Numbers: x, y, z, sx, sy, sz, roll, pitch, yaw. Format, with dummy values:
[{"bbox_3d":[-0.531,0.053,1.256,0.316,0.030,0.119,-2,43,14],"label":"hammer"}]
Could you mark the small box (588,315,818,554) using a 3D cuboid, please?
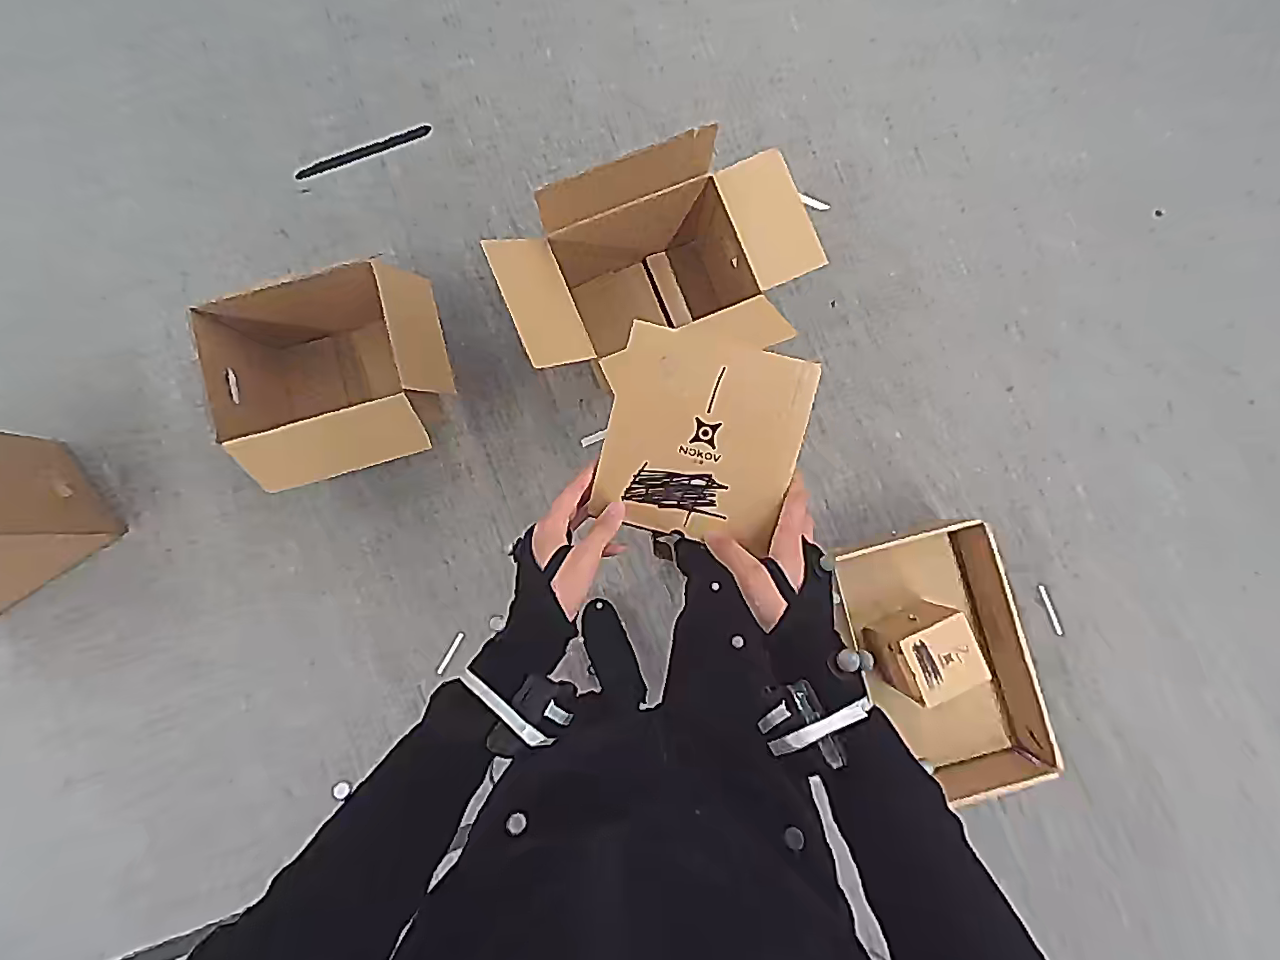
[{"bbox_3d":[0.058,-0.045,0.543,0.168,0.176,0.179,14,95,3],"label":"small box"}]
